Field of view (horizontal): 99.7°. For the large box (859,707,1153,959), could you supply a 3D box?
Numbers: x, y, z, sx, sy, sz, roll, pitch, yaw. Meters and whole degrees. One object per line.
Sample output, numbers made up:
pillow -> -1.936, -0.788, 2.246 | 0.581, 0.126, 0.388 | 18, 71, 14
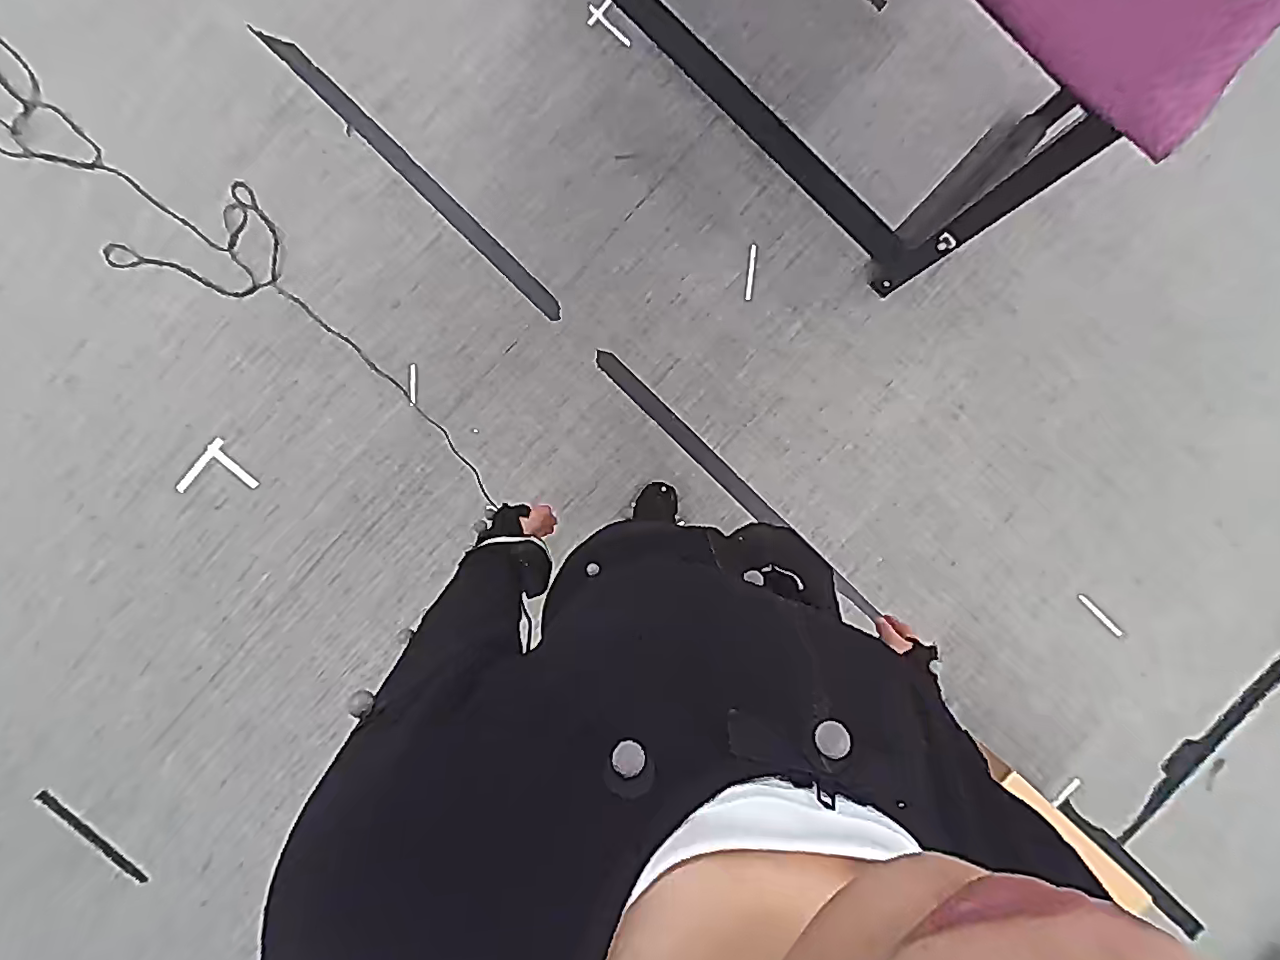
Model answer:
large box -> 0.811, 0.829, 1.261 | 0.408, 0.320, 0.320 | 42, 91, 0
